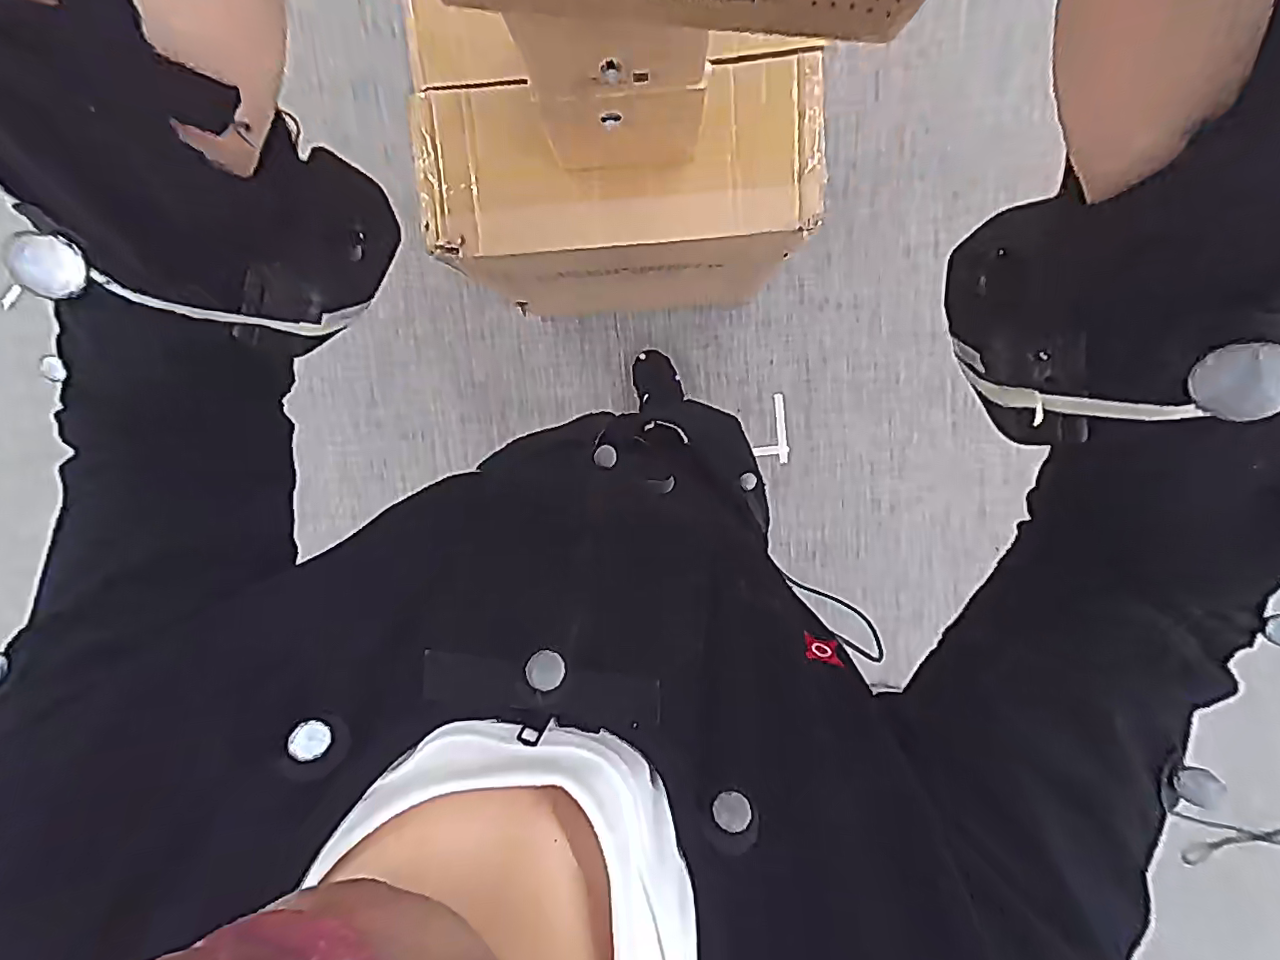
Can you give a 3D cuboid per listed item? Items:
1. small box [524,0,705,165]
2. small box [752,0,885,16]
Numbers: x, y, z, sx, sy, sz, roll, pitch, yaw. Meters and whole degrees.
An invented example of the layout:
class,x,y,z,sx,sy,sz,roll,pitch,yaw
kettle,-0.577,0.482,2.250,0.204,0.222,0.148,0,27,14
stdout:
class,x,y,z,sx,sy,sz,roll,pitch,yaw
small box,-0.023,-0.470,0.598,0.179,0.176,0.168,-3,100,2
small box,0.013,-0.230,0.094,0.168,0.176,0.179,5,103,1
